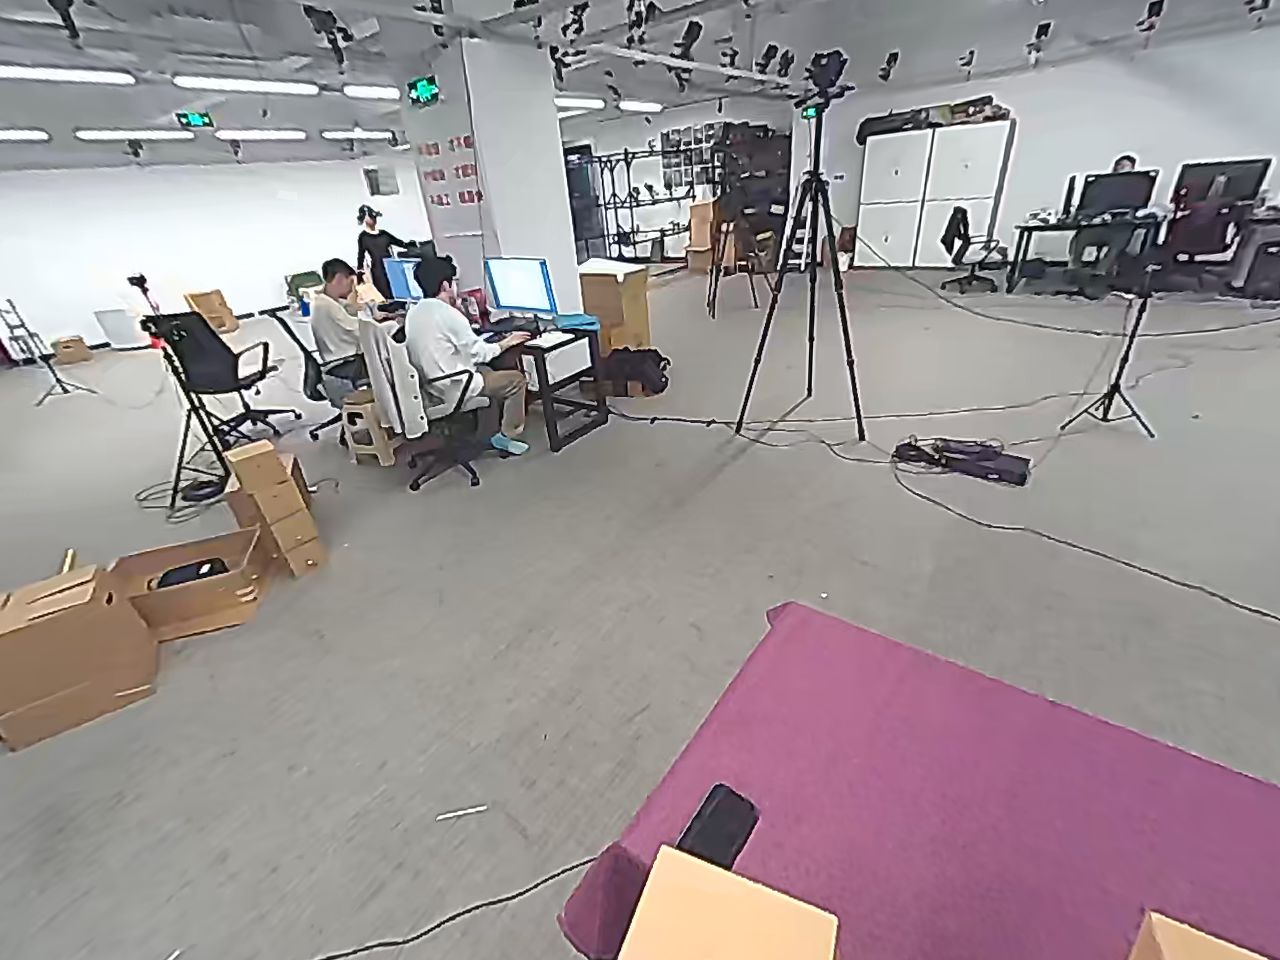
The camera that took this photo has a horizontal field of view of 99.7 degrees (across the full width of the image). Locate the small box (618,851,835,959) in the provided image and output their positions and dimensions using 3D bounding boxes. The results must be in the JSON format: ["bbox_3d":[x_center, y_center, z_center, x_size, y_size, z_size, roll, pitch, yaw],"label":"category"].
[{"bbox_3d":[0.068,0.482,0.469,0.168,0.176,0.179,6,33,26],"label":"small box"}]
